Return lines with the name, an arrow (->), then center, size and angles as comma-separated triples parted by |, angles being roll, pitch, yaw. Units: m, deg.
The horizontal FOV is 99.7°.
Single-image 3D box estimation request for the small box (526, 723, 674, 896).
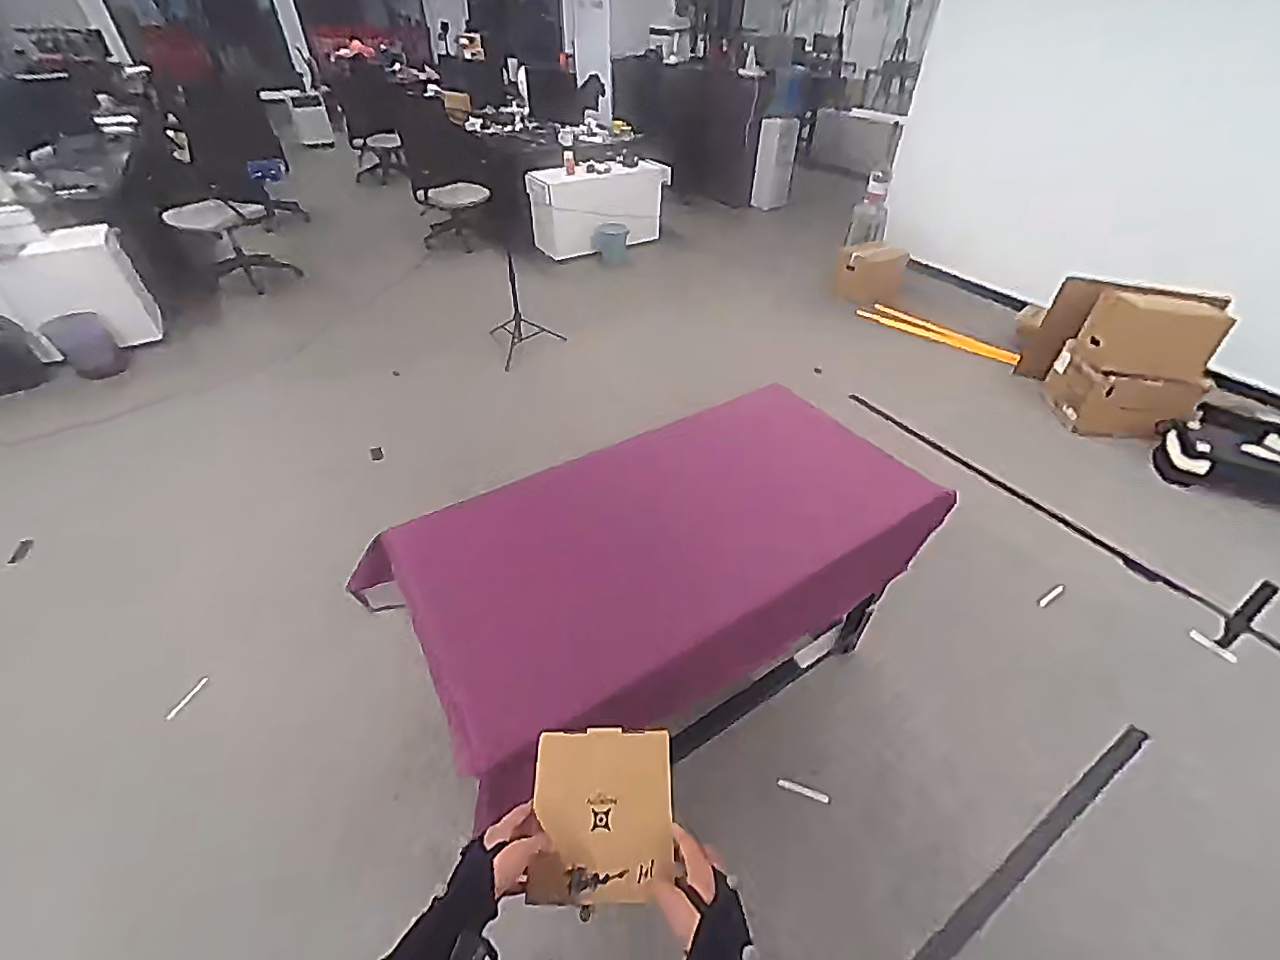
small box -> -0.044, 0.430, 0.704 | 0.168, 0.176, 0.179 | 0, 54, 1
